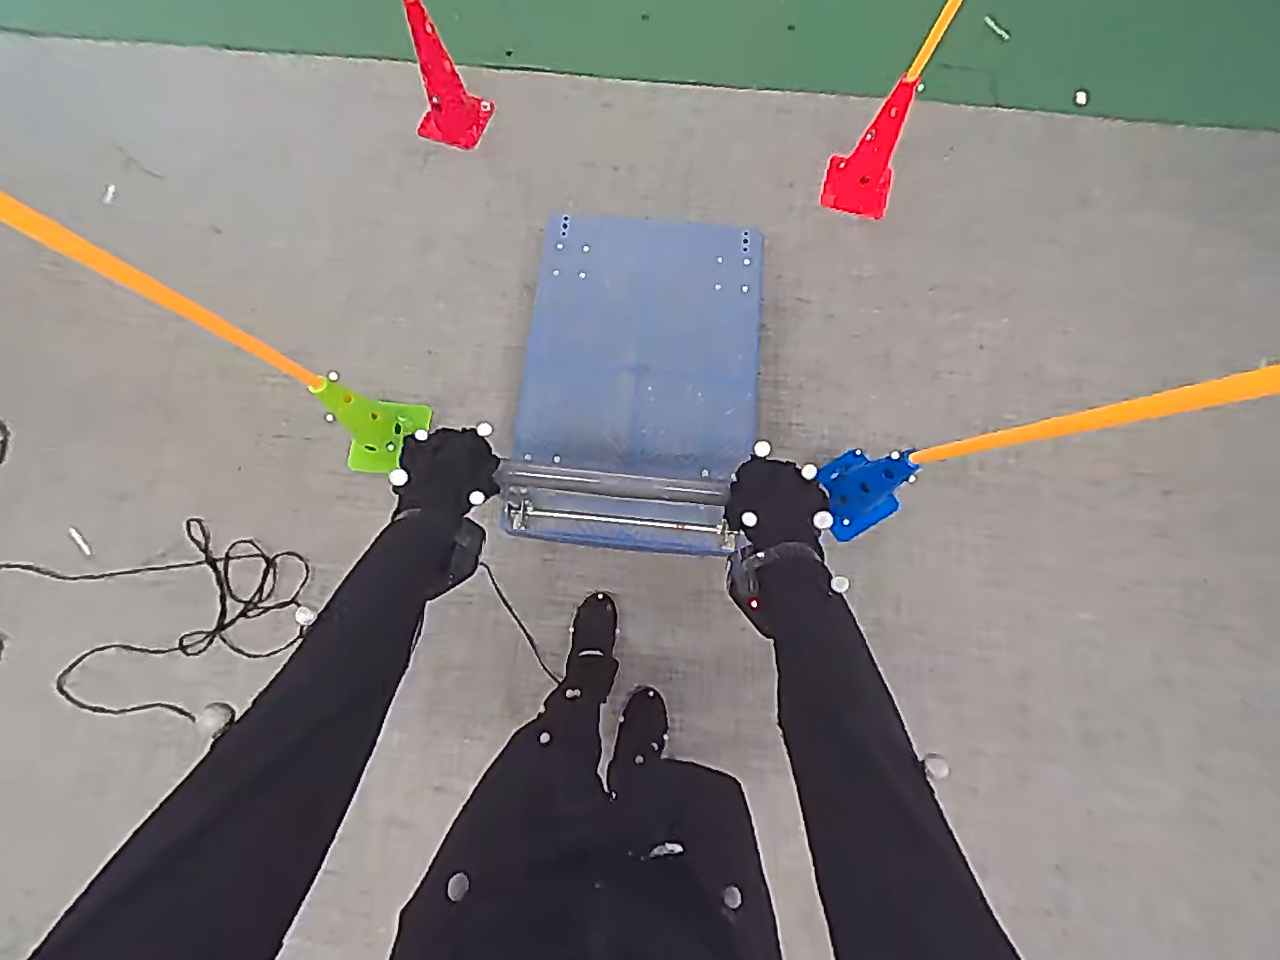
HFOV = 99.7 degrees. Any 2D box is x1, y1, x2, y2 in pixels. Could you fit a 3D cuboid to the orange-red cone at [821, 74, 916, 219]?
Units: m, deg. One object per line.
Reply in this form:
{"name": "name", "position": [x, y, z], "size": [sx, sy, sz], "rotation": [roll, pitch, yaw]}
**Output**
{"name": "orange-red cone", "position": [0.671, -0.947, 1.511], "size": [0.198, 0.360, 0.199], "rotation": [17, 77, 5]}
